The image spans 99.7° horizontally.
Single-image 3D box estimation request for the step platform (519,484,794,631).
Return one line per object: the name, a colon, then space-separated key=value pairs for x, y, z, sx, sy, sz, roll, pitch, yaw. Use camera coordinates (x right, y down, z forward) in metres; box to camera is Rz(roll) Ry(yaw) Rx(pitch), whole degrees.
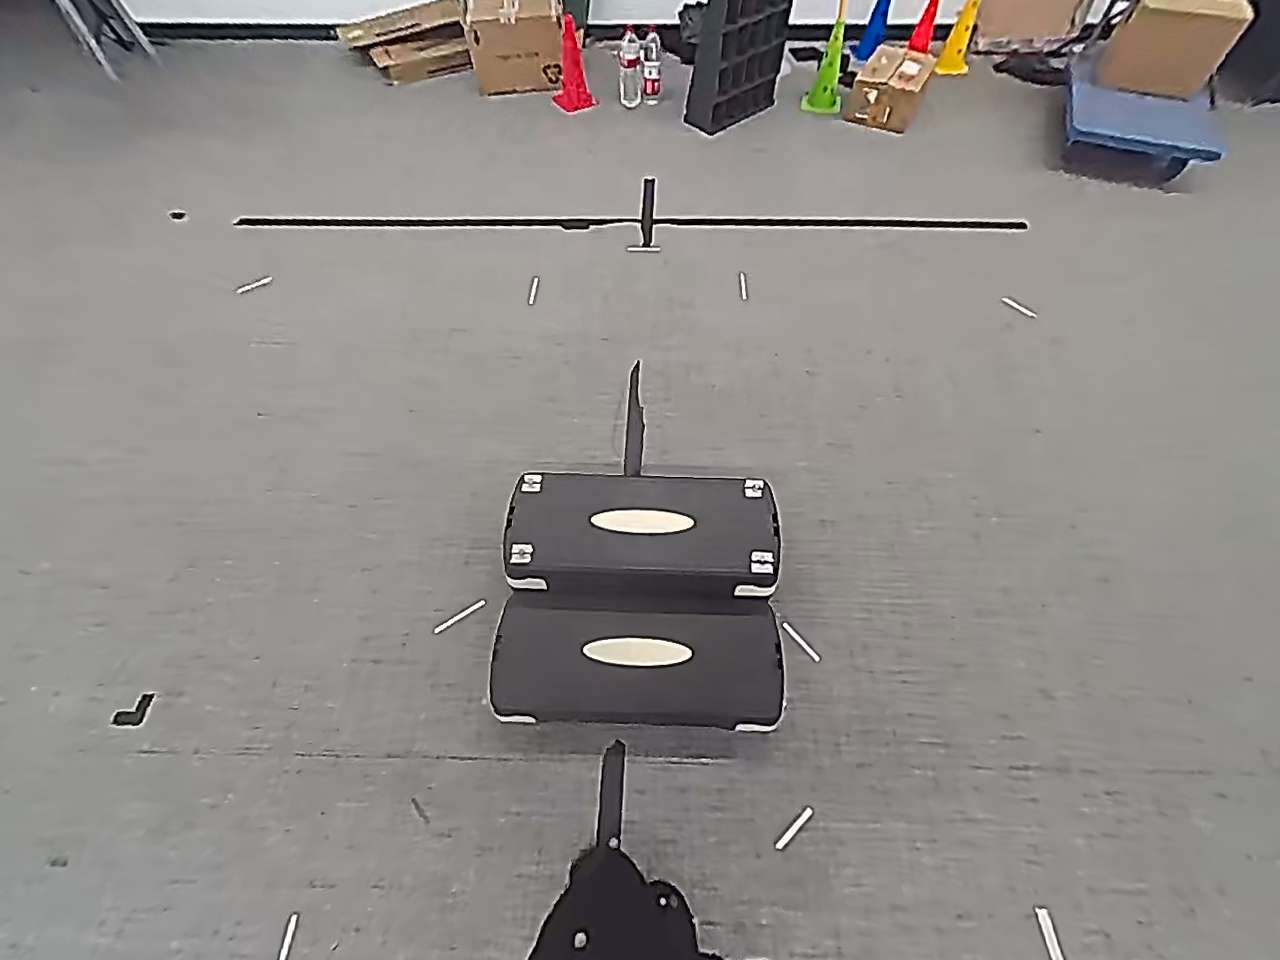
step platform: x=0.041 y=0.192 z=1.386 sx=0.684 sy=0.204 sz=0.286 roll=5 pitch=56 yaw=3
